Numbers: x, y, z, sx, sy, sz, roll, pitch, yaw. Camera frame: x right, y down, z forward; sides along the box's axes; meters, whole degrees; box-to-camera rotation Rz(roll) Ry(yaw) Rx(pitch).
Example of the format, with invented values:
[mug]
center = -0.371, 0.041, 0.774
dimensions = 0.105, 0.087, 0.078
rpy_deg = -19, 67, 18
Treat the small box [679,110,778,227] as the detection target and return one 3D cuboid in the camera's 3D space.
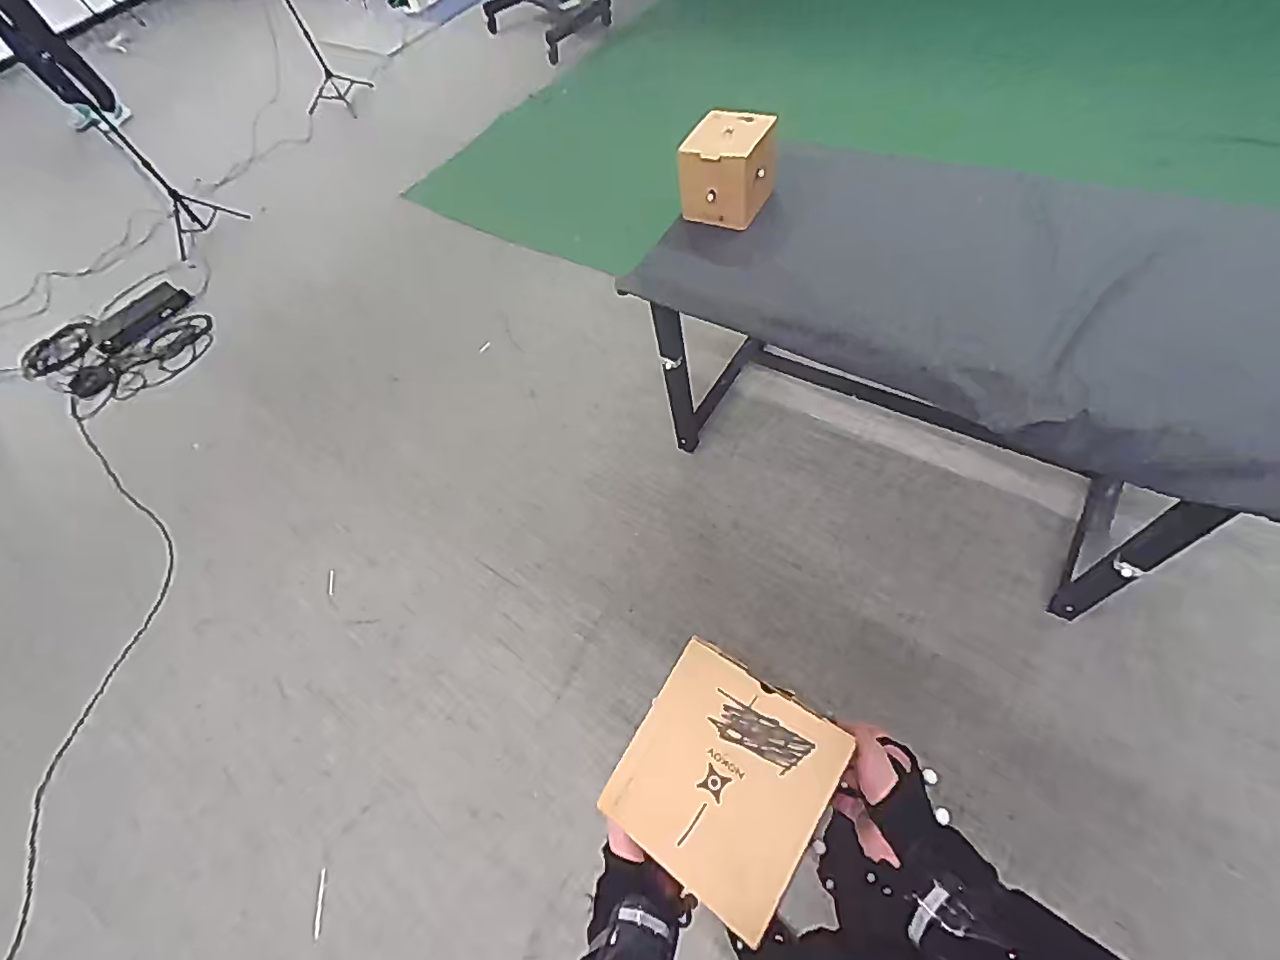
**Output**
[small box]
center = 0.211, -0.719, 1.257
dimensions = 0.168, 0.176, 0.179
rpy_deg = 23, 66, 23
